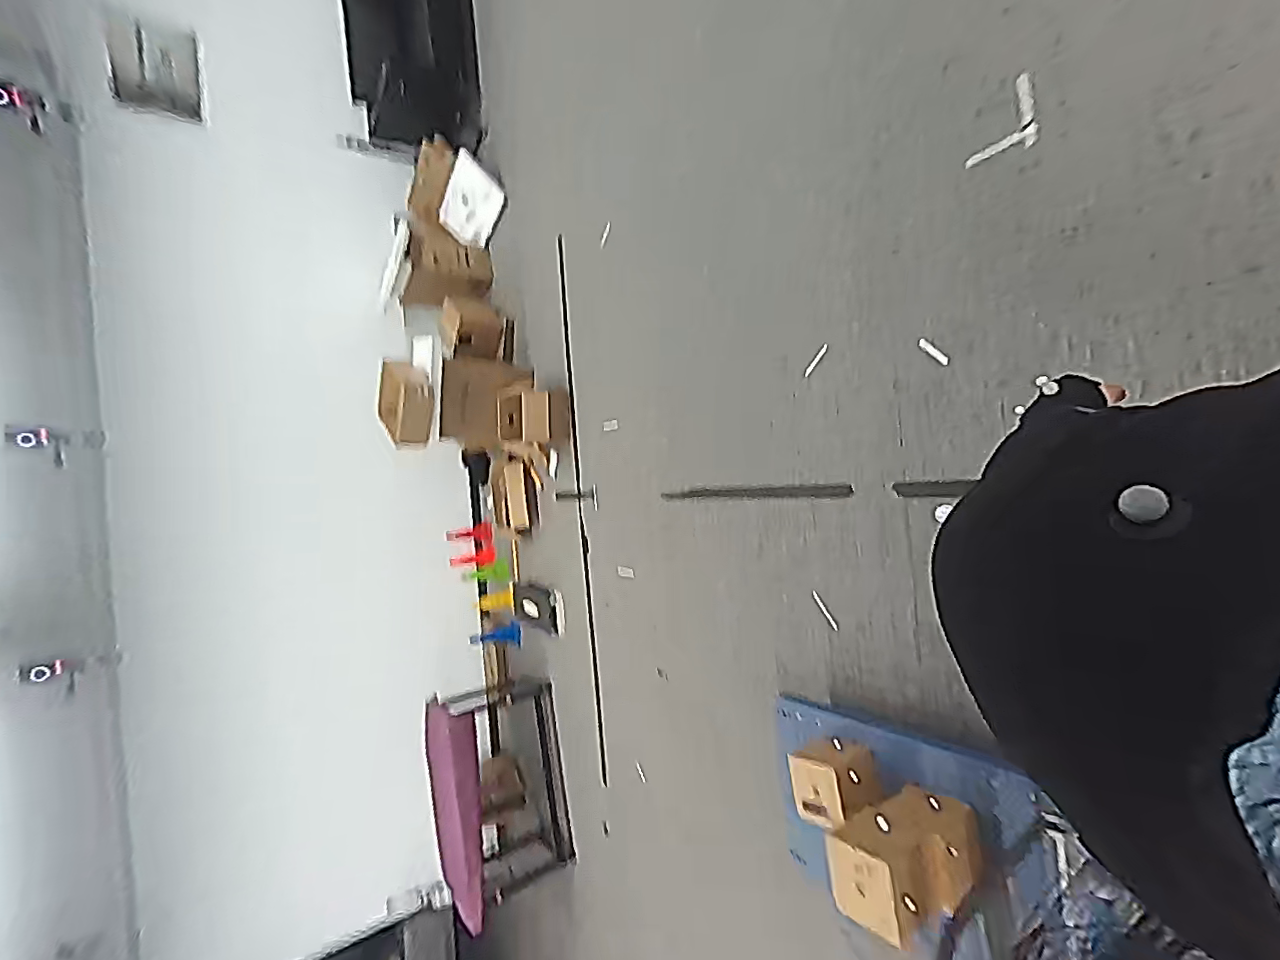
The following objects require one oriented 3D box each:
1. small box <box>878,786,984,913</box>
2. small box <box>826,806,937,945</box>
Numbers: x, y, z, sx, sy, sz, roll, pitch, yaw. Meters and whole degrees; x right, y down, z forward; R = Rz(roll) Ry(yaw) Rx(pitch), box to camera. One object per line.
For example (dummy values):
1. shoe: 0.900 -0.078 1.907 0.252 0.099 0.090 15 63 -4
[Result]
1. small box: 0.717 0.897 1.332 0.168 0.176 0.179 -13 82 56
2. small box: 0.566 0.909 1.262 0.168 0.176 0.179 -12 83 56
